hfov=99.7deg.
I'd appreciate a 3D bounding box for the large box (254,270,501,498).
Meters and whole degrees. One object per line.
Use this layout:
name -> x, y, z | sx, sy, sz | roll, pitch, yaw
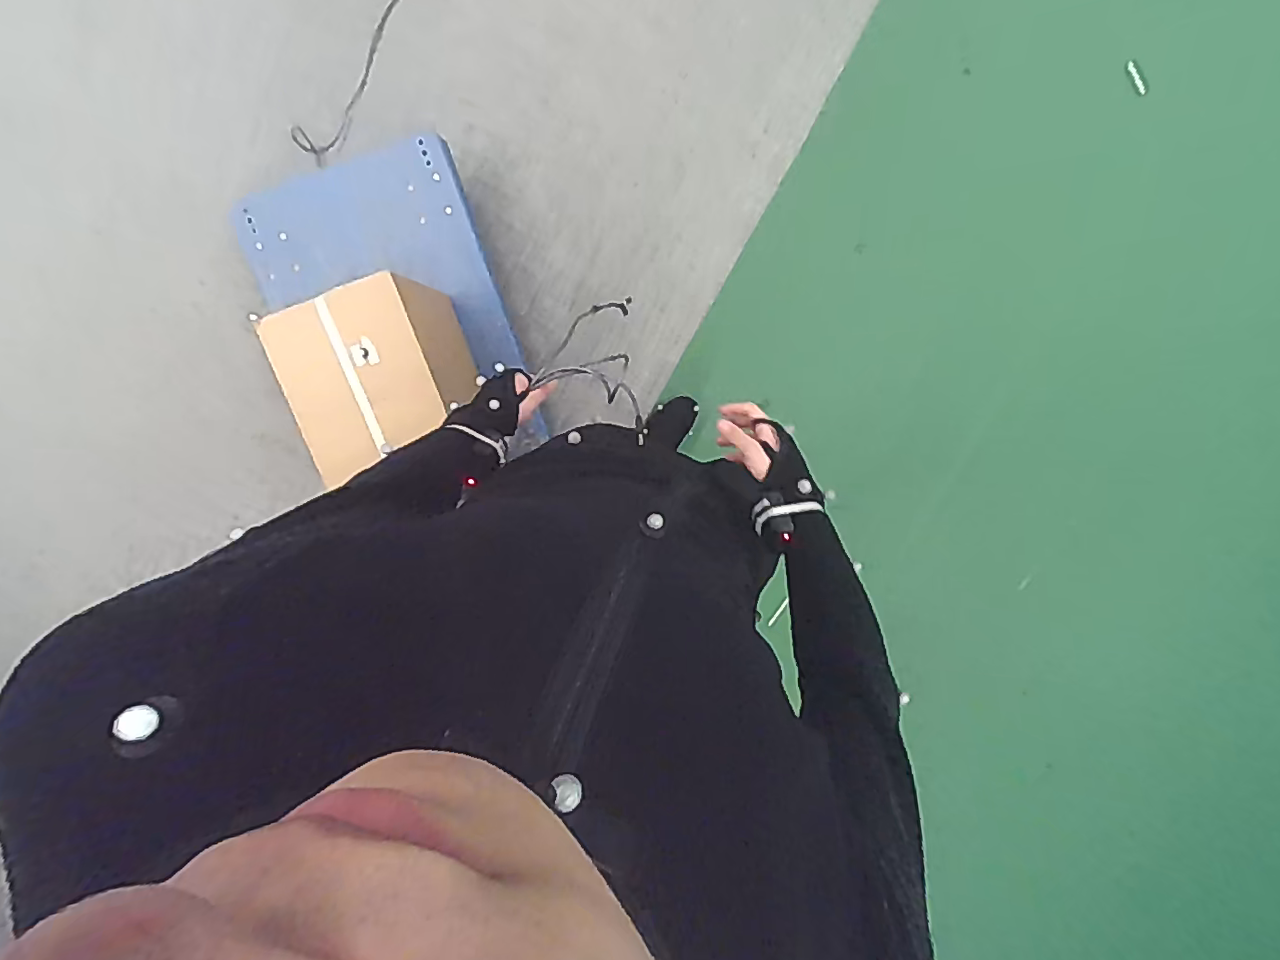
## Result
large box -> -0.576, -0.214, 1.266 | 0.320, 0.320, 0.408 | -18, 99, 4
